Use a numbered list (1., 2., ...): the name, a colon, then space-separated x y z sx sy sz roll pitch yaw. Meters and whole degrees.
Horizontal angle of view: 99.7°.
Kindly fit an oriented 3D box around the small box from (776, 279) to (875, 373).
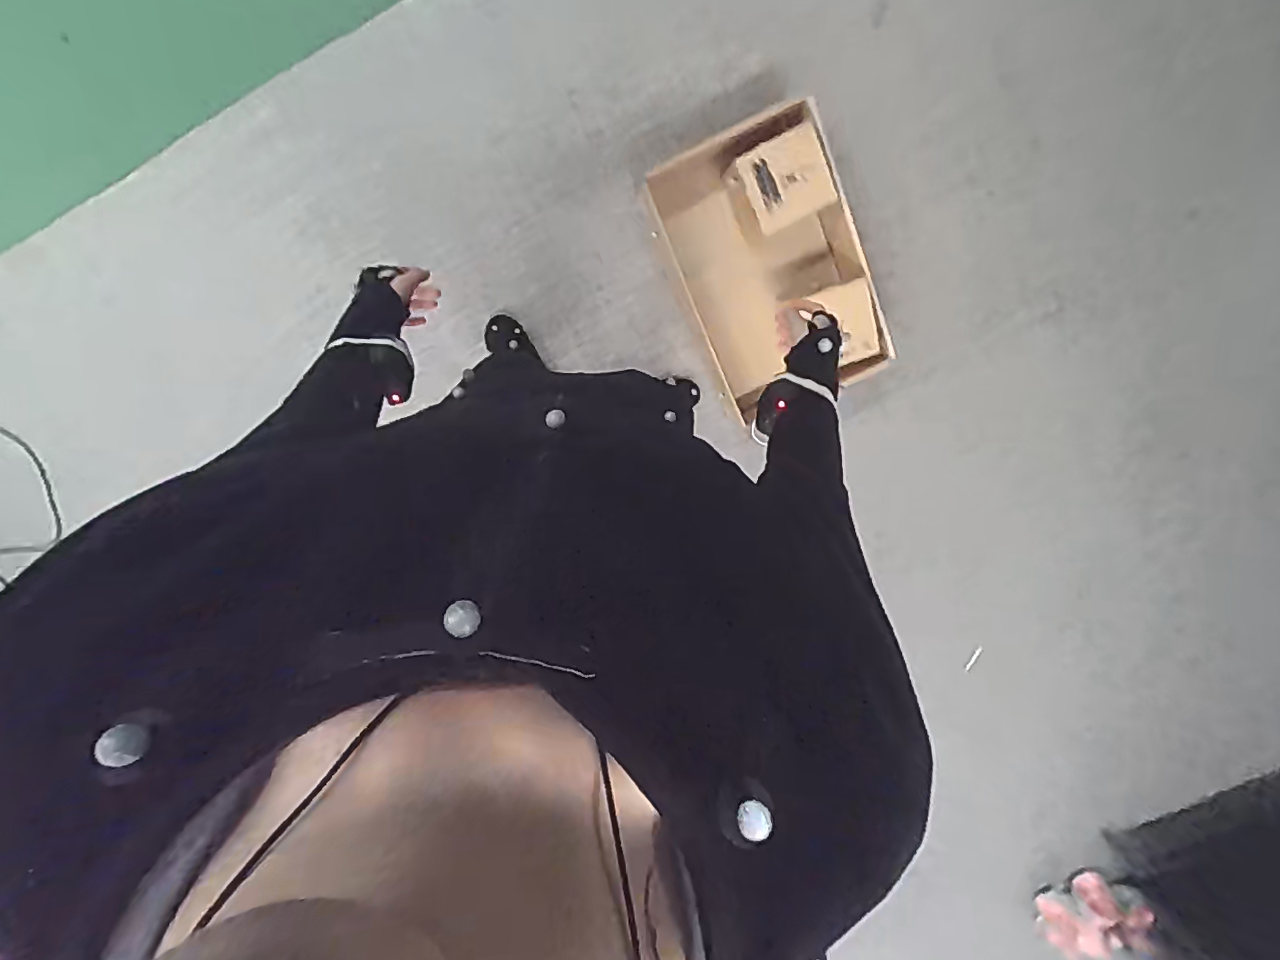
1. small box: 0.441 -0.368 1.307 0.168 0.176 0.179 -15 106 3
